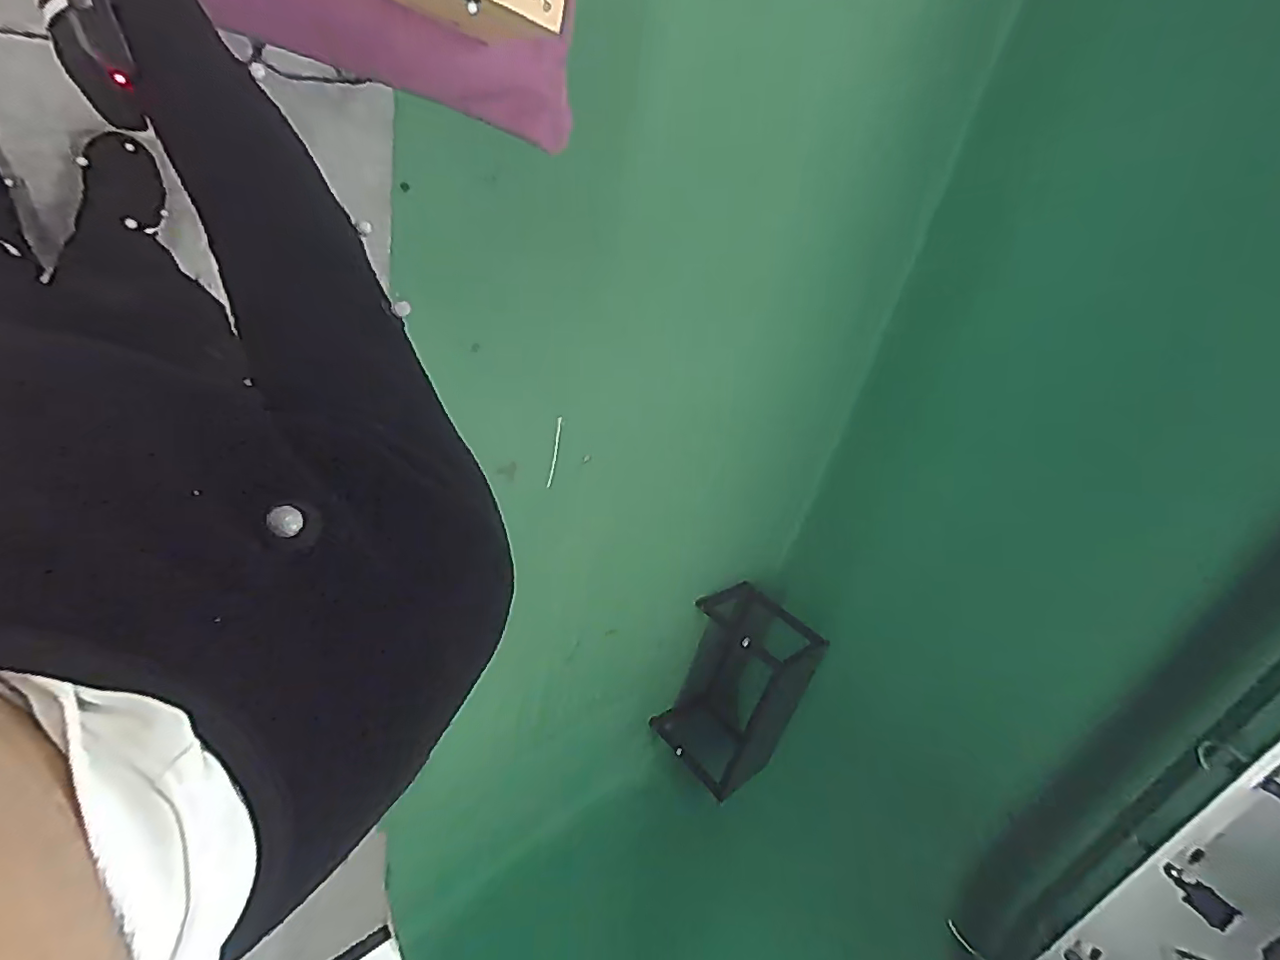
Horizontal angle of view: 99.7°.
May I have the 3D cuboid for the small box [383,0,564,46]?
[{"bbox_3d":[-0.192,-0.628,0.608,0.168,0.176,0.179,-9,122,-42],"label":"small box"}]
